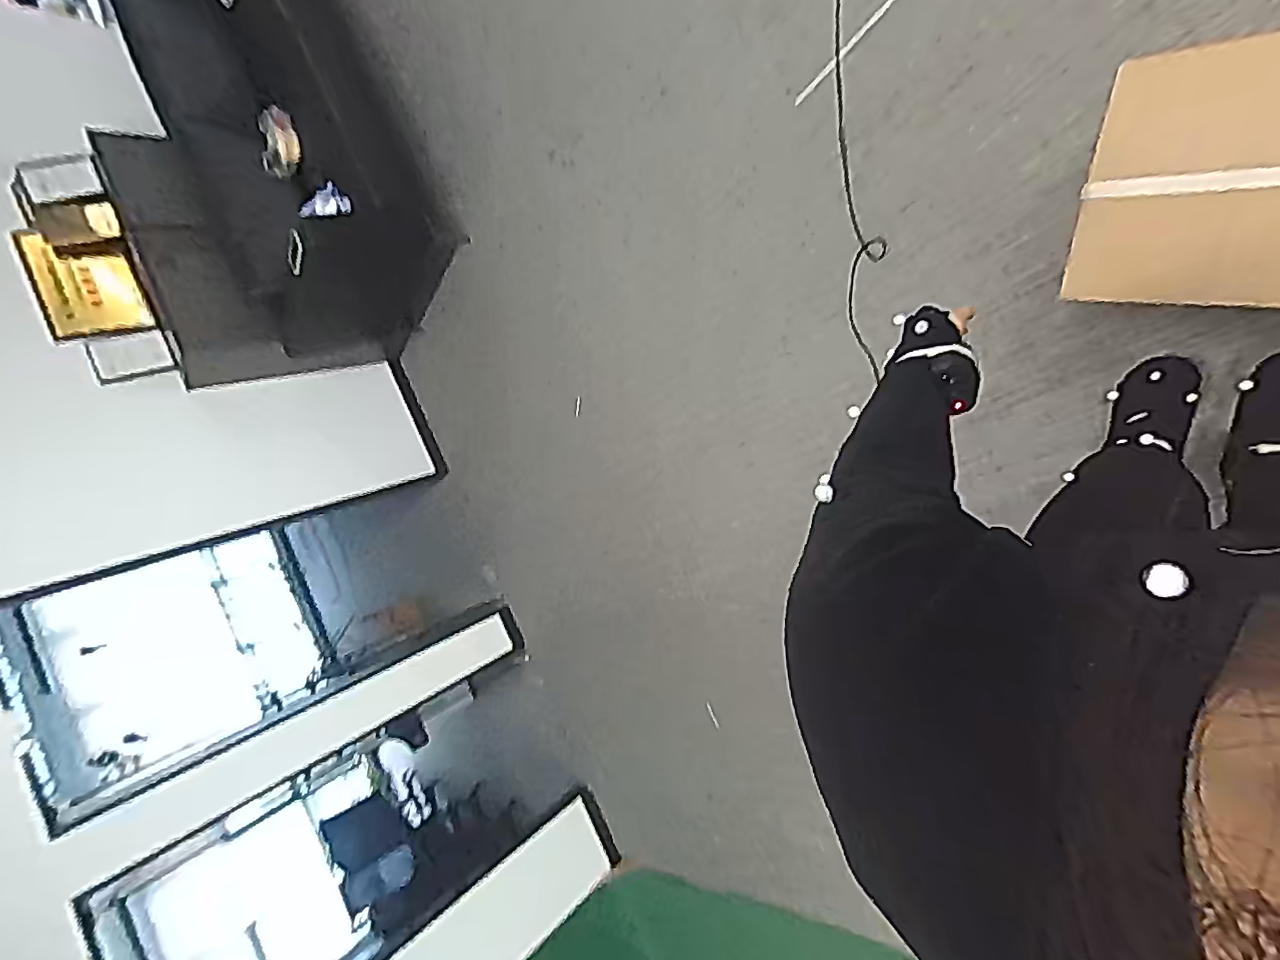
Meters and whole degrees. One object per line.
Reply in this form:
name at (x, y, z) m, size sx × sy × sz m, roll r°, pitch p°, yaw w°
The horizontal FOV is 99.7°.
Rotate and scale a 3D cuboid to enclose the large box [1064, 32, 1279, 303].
large box at (0.909, -0.425, 0.772) m, size 0.408 × 0.320 × 0.320 m, roll 19°, pitch 120°, yaw 40°
